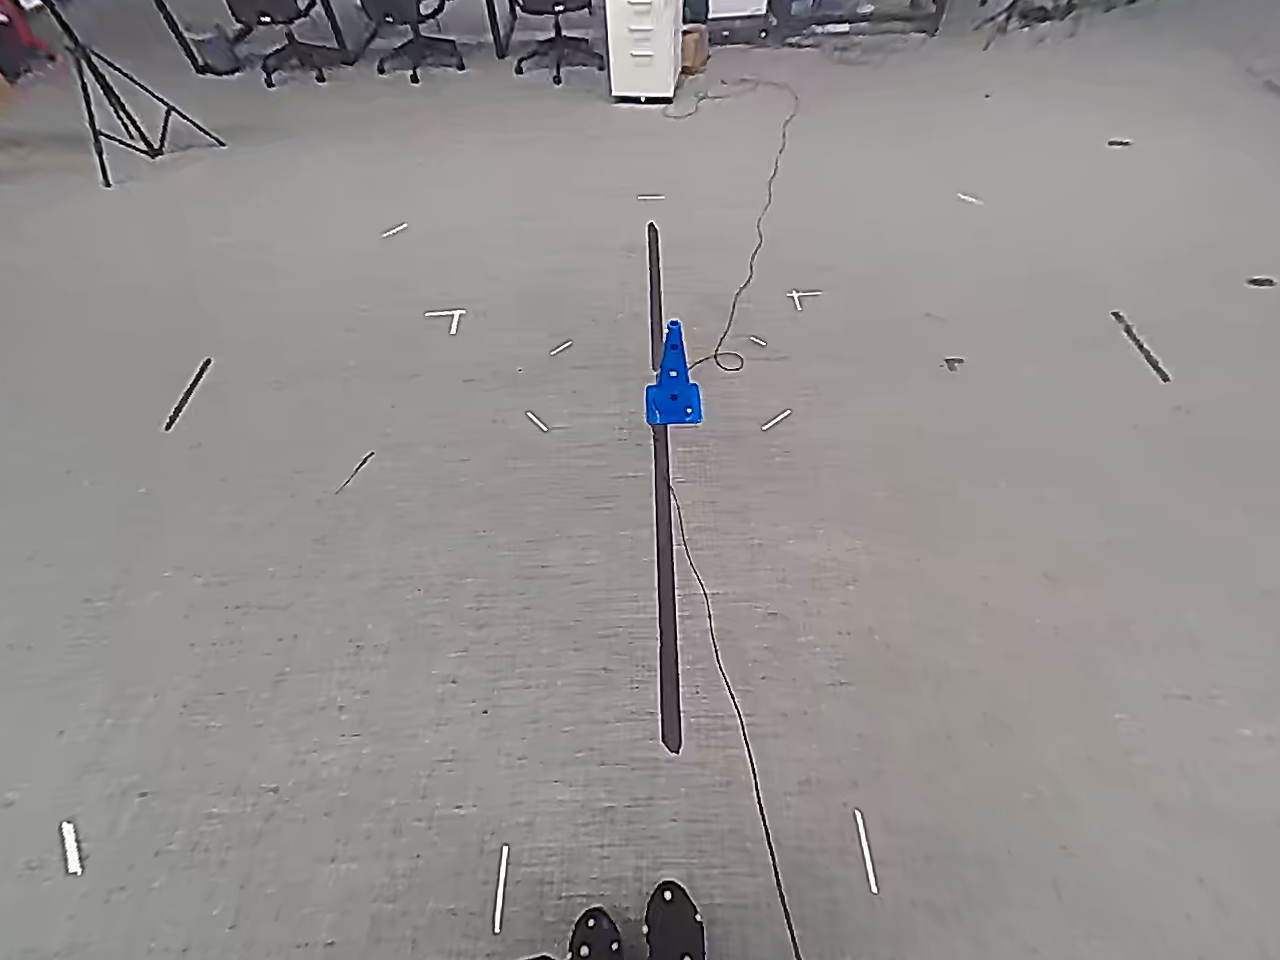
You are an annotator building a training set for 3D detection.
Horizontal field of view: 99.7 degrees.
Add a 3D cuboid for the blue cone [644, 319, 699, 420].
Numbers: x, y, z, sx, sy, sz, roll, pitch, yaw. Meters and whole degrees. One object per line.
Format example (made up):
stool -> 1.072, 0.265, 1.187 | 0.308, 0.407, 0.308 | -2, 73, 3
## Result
blue cone -> 0.109, -0.388, 1.835 | 0.193, 0.380, 0.192 | -2, 53, 0
